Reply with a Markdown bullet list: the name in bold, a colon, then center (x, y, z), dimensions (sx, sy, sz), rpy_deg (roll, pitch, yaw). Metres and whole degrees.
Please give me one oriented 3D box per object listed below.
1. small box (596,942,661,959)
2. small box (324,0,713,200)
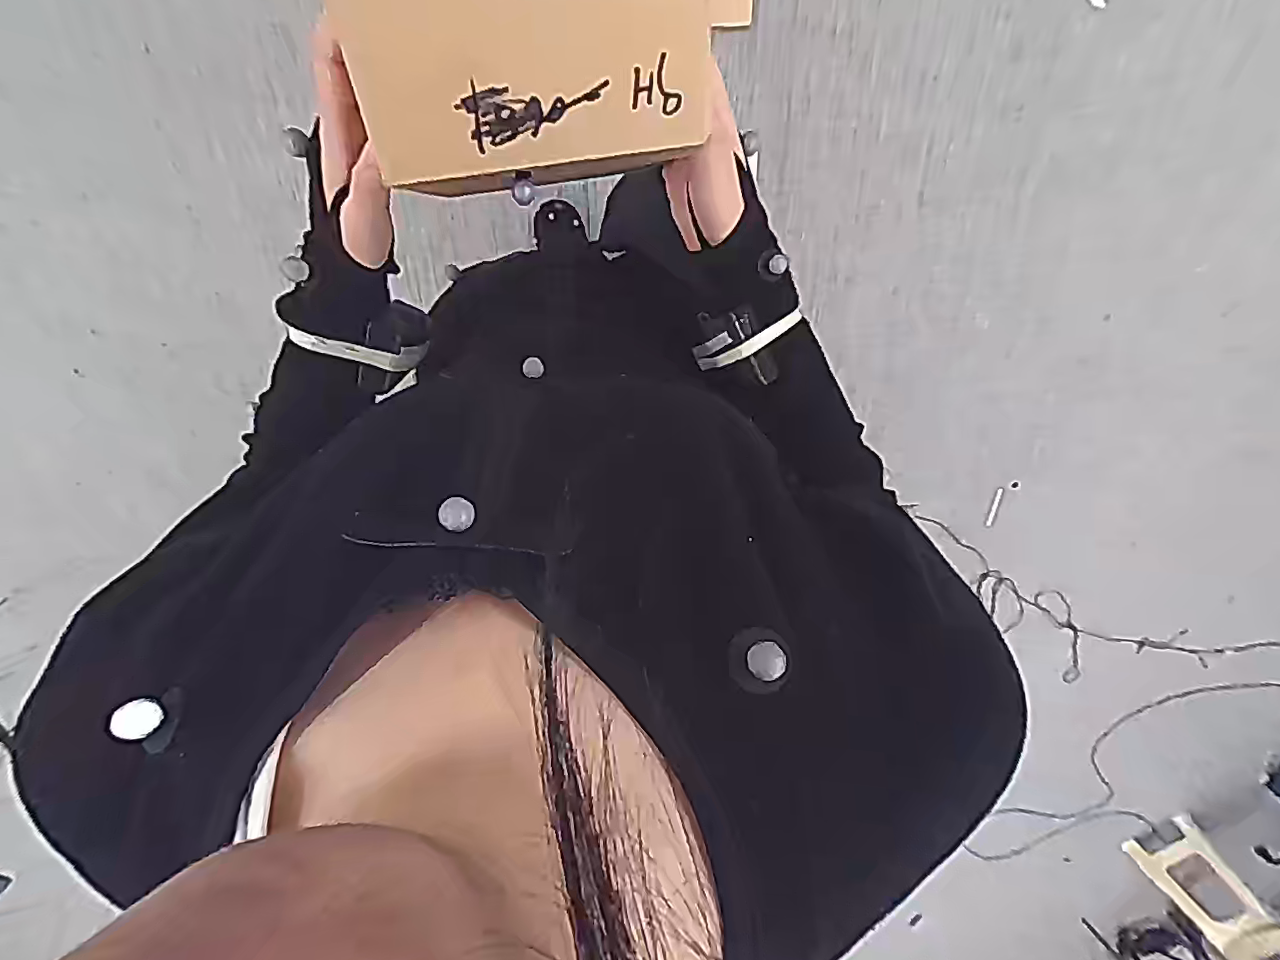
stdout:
- **small box**: center (-0.026, 1.282, 1.329), dimensions (0.168, 0.176, 0.179), rpy_deg (-1, 116, -5)
- **small box**: center (-0.066, -0.263, 0.294), dimensions (0.168, 0.176, 0.179), rpy_deg (-11, 117, -4)
